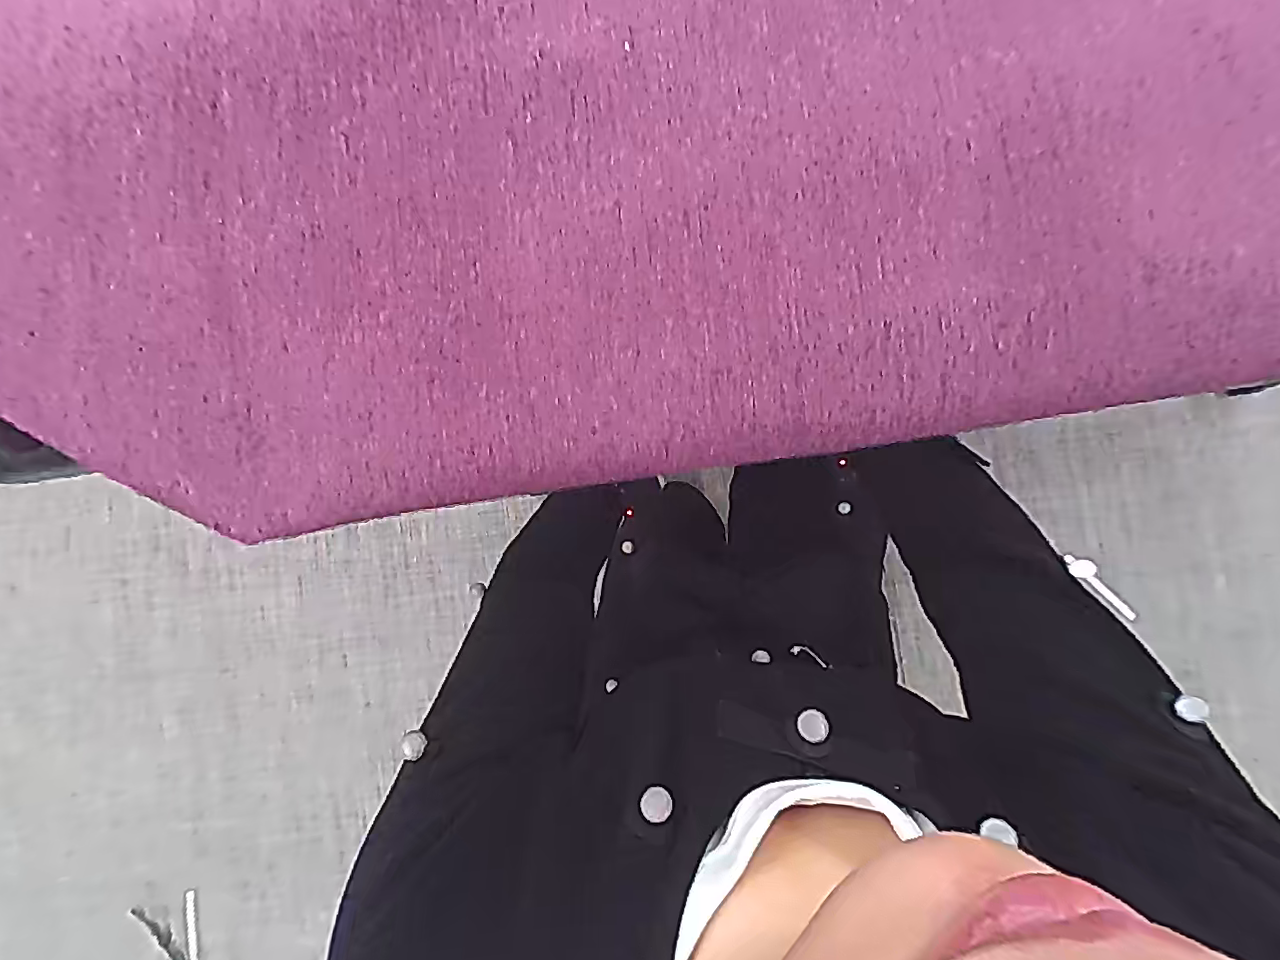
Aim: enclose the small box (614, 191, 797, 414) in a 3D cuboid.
[{"bbox_3d":[0.089,-0.209,0.683,0.168,0.176,0.179,-22,73,13],"label":"small box"}]
